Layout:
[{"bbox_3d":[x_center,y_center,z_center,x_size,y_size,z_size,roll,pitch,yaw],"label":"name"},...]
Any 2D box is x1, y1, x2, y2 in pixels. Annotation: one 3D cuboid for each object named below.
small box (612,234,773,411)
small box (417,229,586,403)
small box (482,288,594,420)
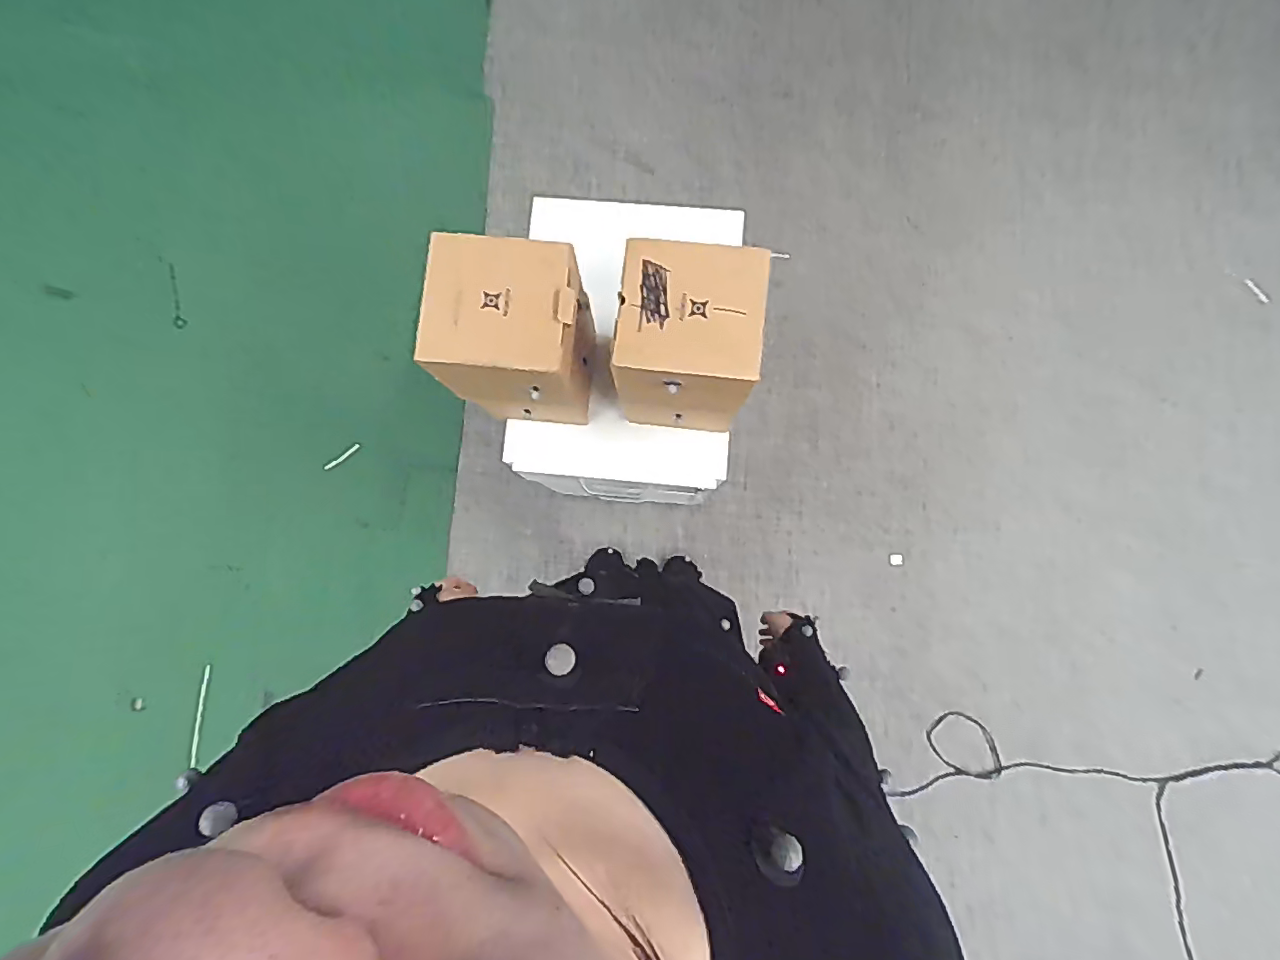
[{"bbox_3d":[0.065,-0.196,0.716,0.179,0.176,0.168,7,83,2],"label":"small box"},{"bbox_3d":[-0.170,-0.206,0.722,0.179,0.176,0.168,4,82,1],"label":"small box"},{"bbox_3d":[-0.168,-0.203,0.885,0.168,0.176,0.179,5,83,-1],"label":"small box"}]
